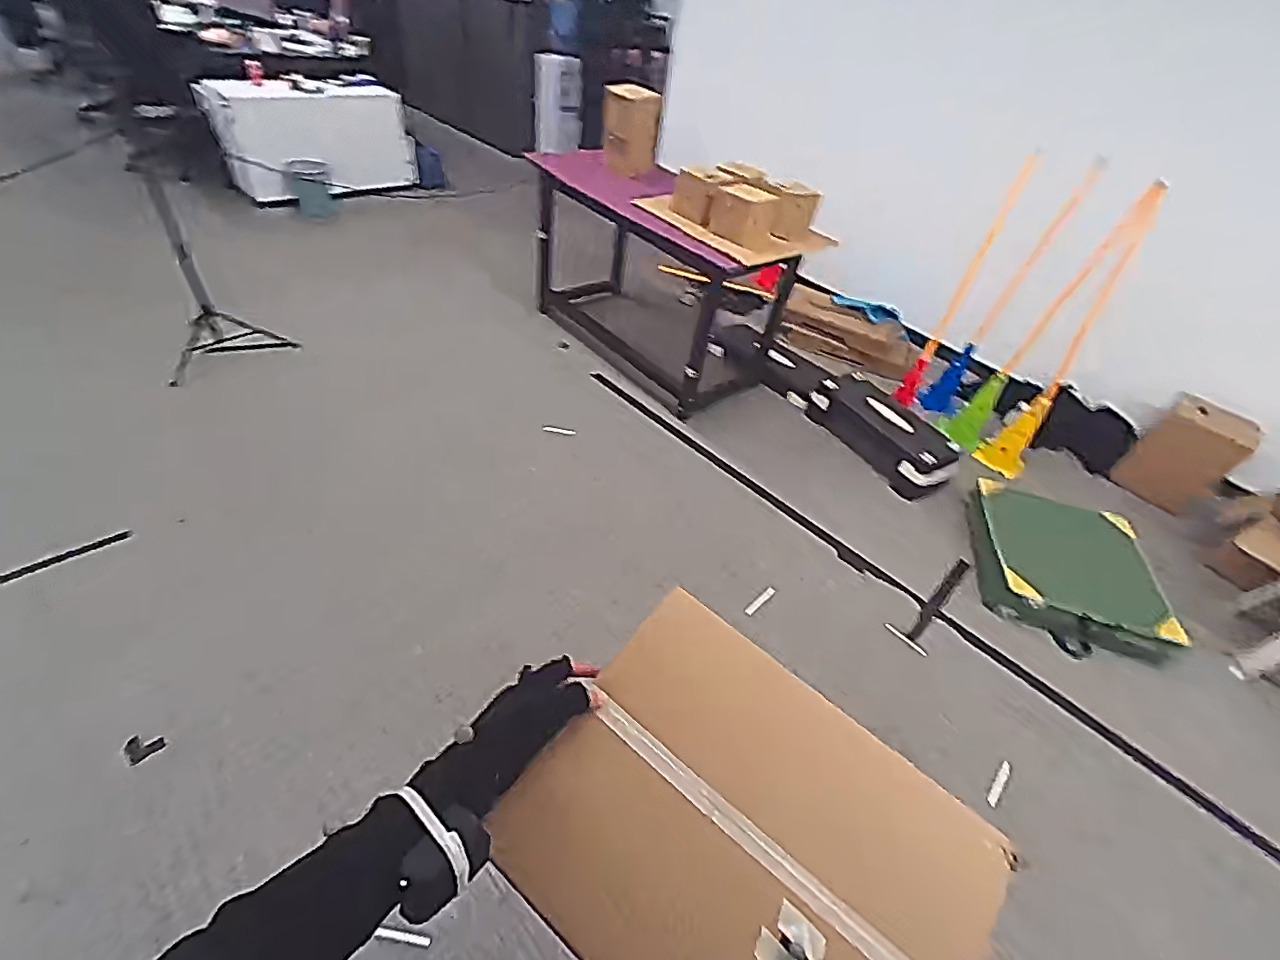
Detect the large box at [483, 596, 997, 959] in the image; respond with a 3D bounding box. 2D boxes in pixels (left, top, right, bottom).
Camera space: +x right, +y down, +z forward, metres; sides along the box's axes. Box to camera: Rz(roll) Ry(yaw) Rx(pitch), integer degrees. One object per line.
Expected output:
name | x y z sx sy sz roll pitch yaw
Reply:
large box | 0.084 0.417 0.625 0.408 0.320 0.320 36 59 17
